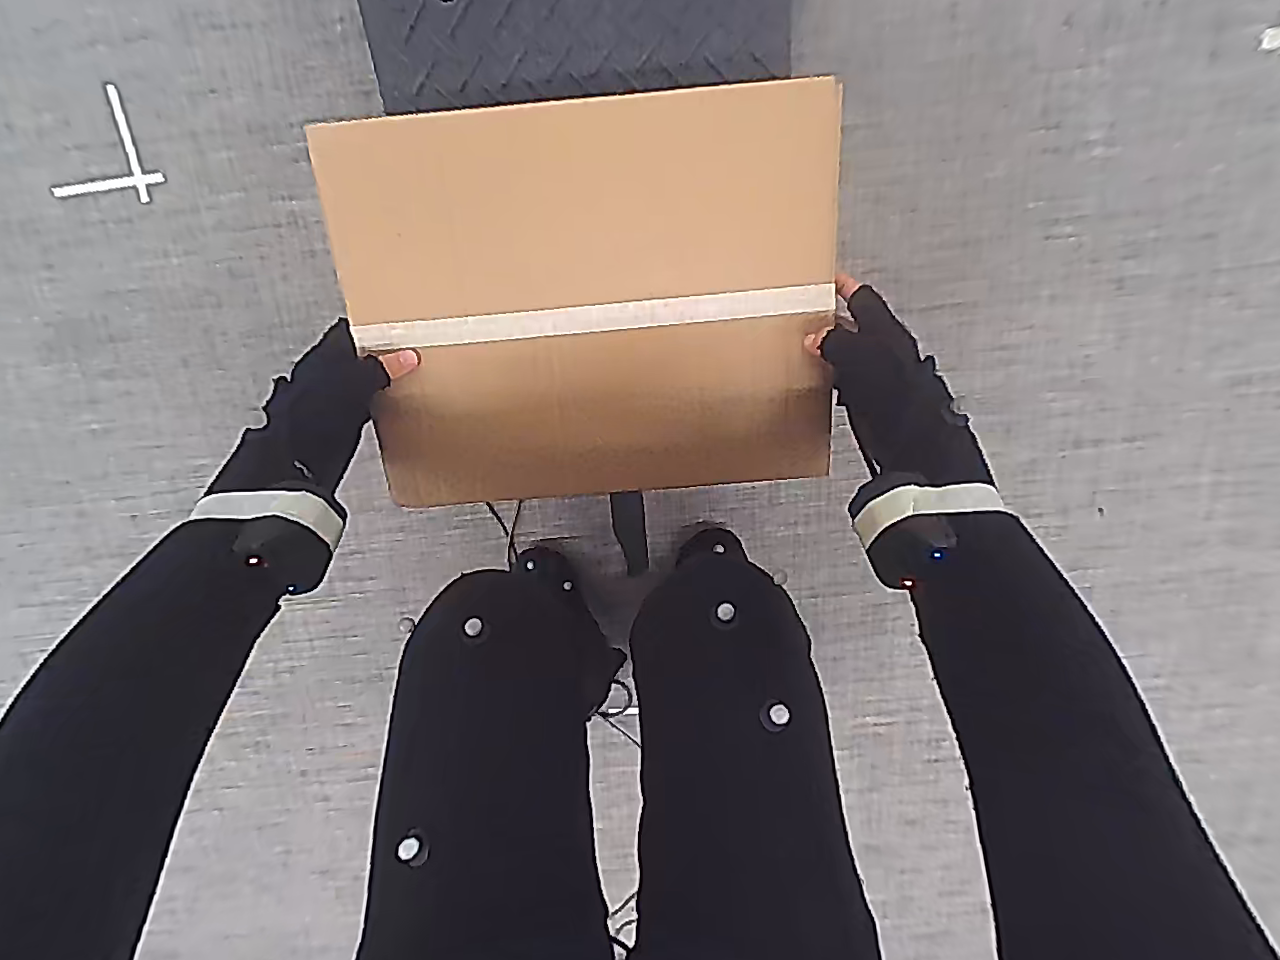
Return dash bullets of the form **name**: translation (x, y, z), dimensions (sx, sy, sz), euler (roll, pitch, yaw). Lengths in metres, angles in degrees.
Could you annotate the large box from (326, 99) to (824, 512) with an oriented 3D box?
- **large box**: translation (-0.039, -0.177, 0.608), dimensions (0.408, 0.320, 0.320), euler (-4, 107, 2)
